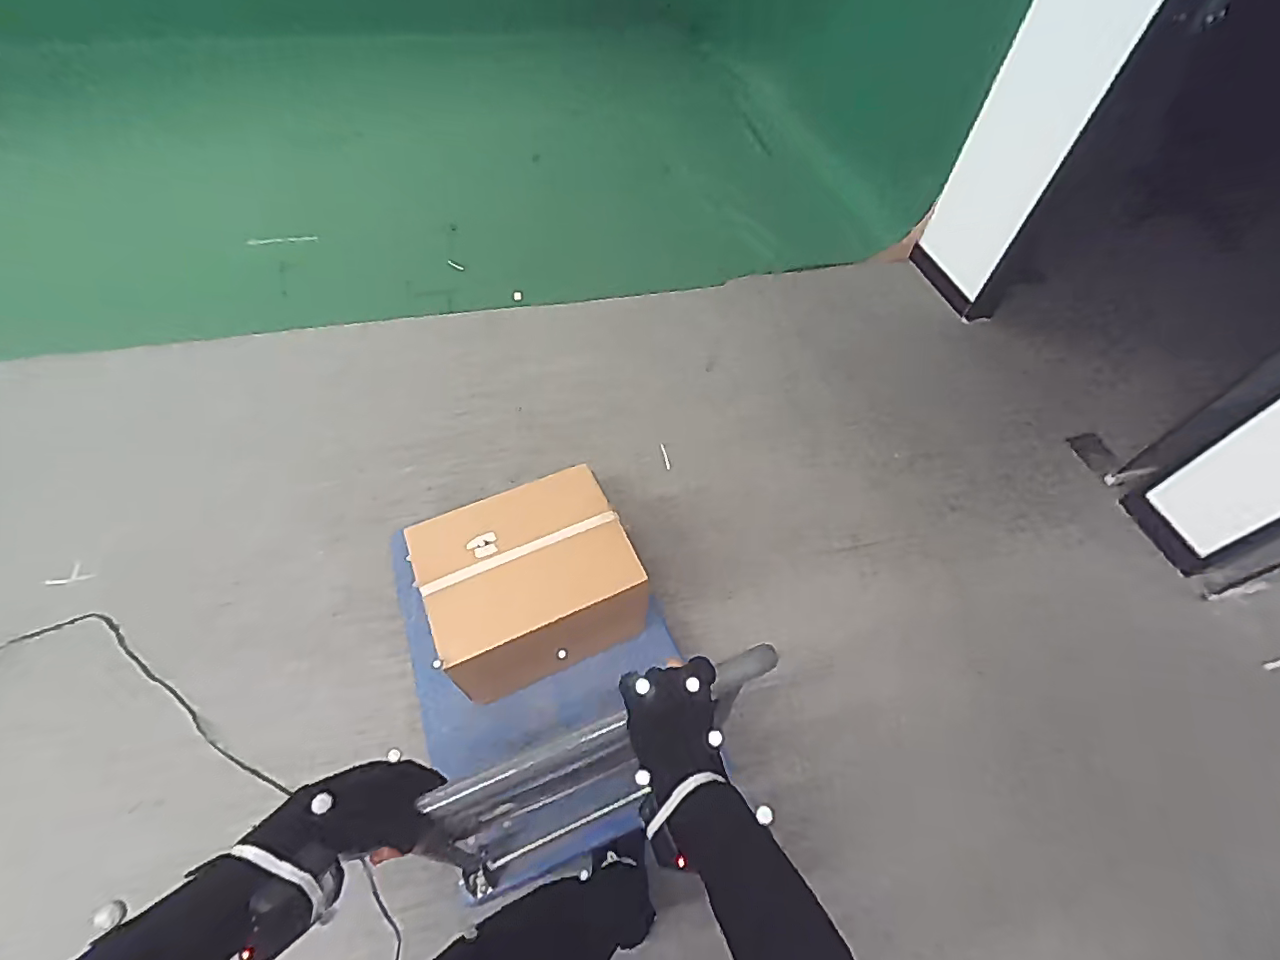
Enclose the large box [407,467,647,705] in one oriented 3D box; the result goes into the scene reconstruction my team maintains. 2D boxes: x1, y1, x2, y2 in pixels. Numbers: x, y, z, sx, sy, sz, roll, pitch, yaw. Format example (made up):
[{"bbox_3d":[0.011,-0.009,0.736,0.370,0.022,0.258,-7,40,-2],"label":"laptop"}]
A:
[{"bbox_3d":[-0.233,0.236,1.196,0.408,0.320,0.320,-22,59,-16],"label":"large box"}]
